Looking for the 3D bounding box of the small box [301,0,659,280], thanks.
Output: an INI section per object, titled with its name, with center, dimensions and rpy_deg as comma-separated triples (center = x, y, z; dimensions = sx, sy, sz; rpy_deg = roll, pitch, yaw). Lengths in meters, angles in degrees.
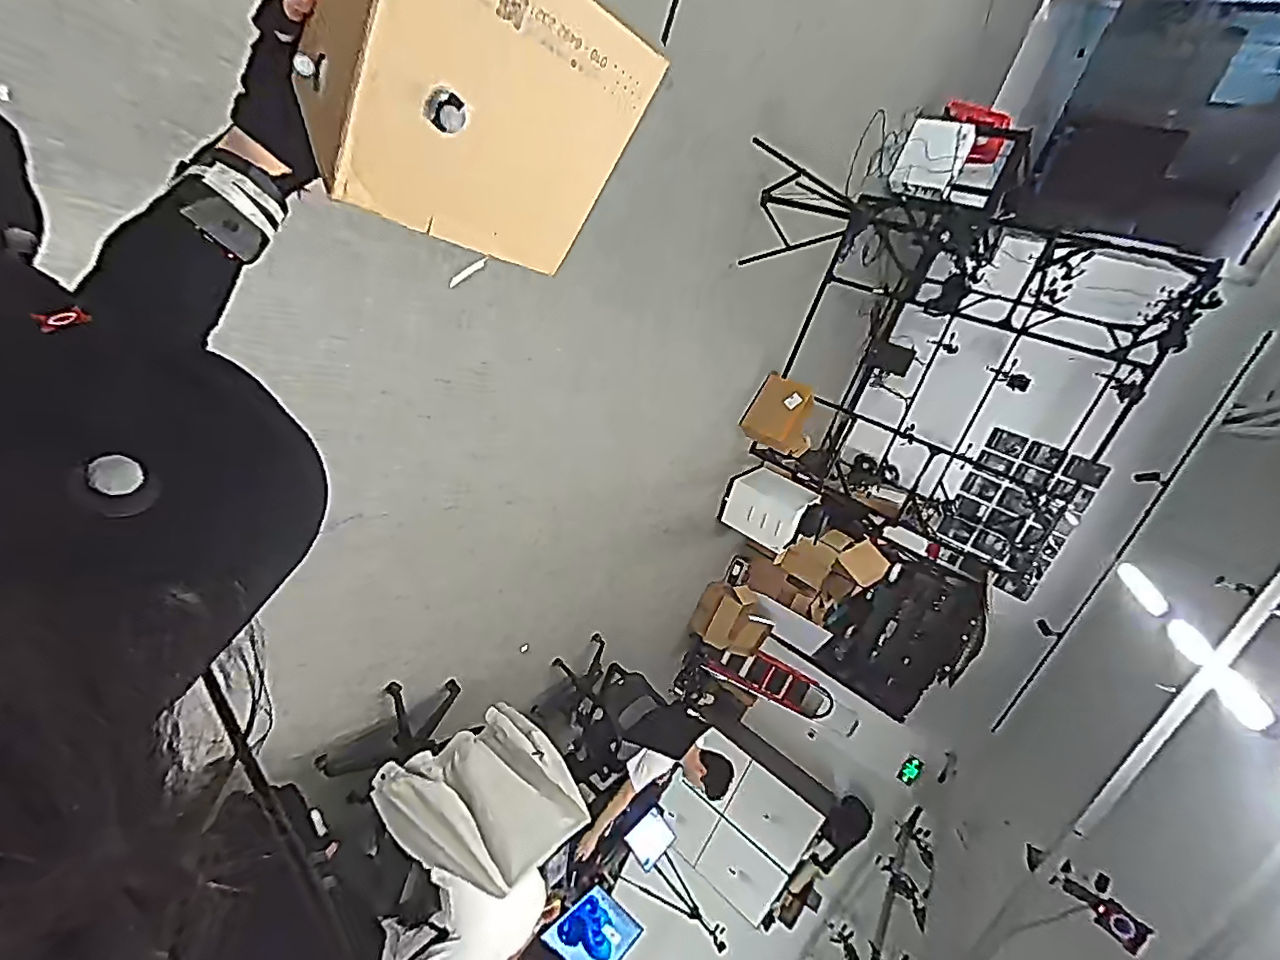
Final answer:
[small box]
center = -0.112, -0.279, 0.373
dimensions = 0.168, 0.179, 0.176
rpy_deg = 4, 137, -45
